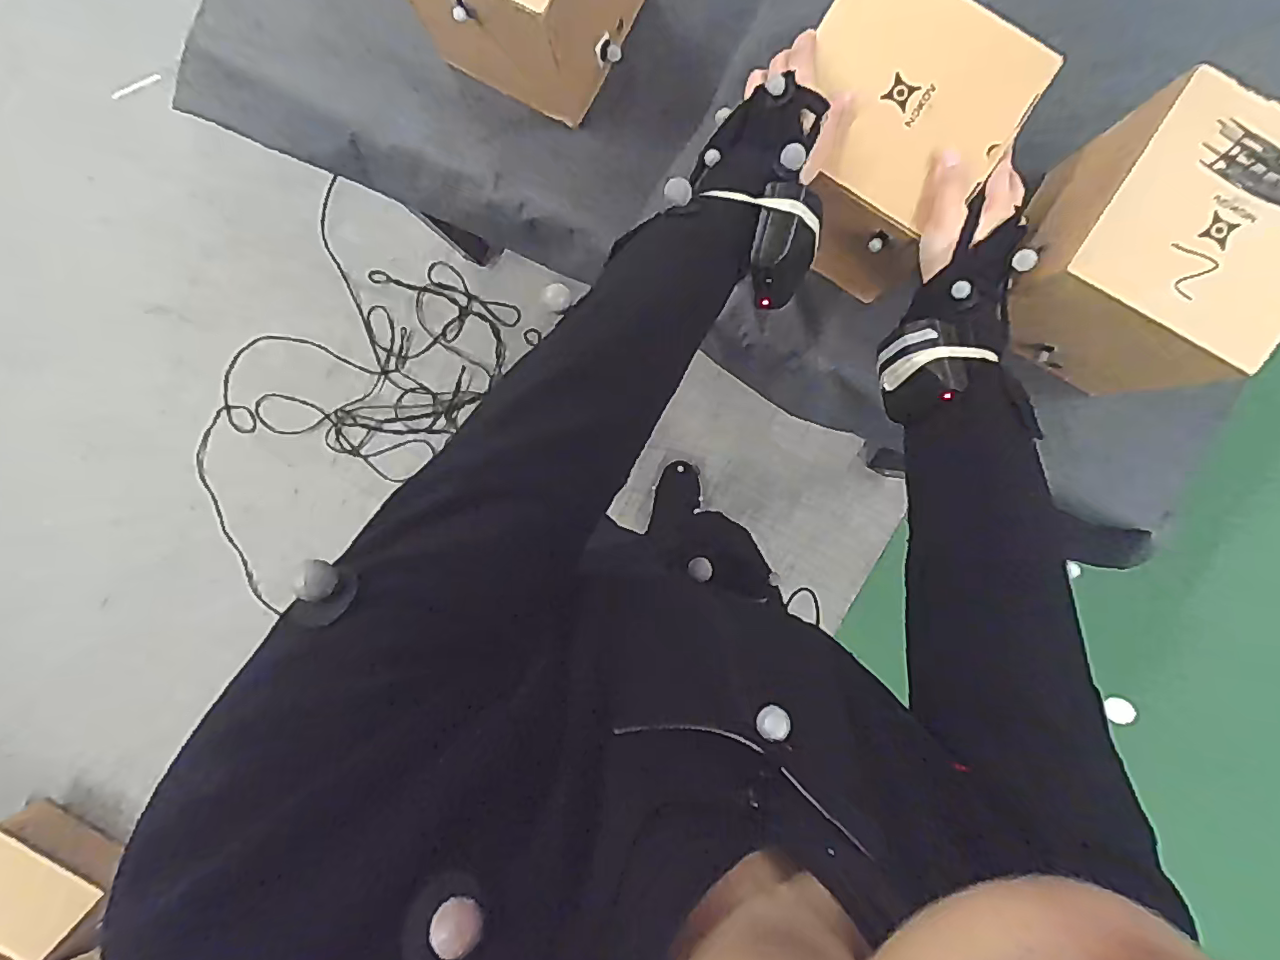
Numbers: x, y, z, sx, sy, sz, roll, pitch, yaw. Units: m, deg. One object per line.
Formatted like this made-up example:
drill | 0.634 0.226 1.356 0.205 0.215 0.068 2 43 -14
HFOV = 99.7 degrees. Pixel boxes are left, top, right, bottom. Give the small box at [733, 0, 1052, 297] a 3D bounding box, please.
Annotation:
small box | 0.204 -0.296 0.499 0.179 0.176 0.168 33 94 1

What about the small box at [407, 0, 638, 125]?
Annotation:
small box | -0.115 -0.484 0.509 0.179 0.176 0.168 28 95 1
